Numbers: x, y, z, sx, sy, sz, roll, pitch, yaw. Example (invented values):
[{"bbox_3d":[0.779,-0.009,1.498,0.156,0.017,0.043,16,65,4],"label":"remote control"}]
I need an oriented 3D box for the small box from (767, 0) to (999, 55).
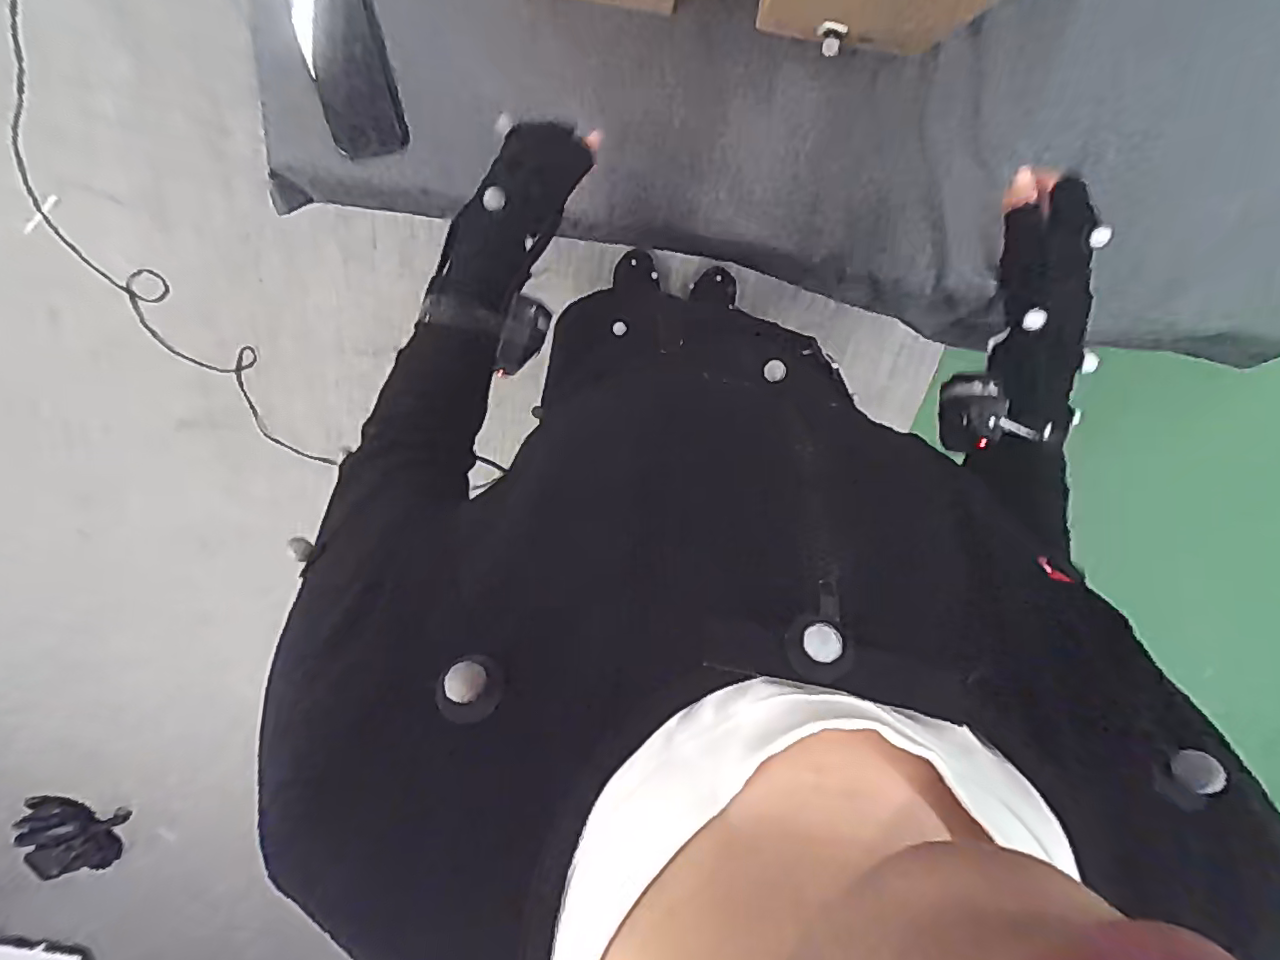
[{"bbox_3d":[0.209,-0.481,0.434,0.168,0.176,0.179,8,116,-1],"label":"small box"}]

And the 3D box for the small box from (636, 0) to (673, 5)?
[{"bbox_3d":[-0.034,-0.516,0.421,0.168,0.176,0.179,9,114,-2],"label":"small box"}]
